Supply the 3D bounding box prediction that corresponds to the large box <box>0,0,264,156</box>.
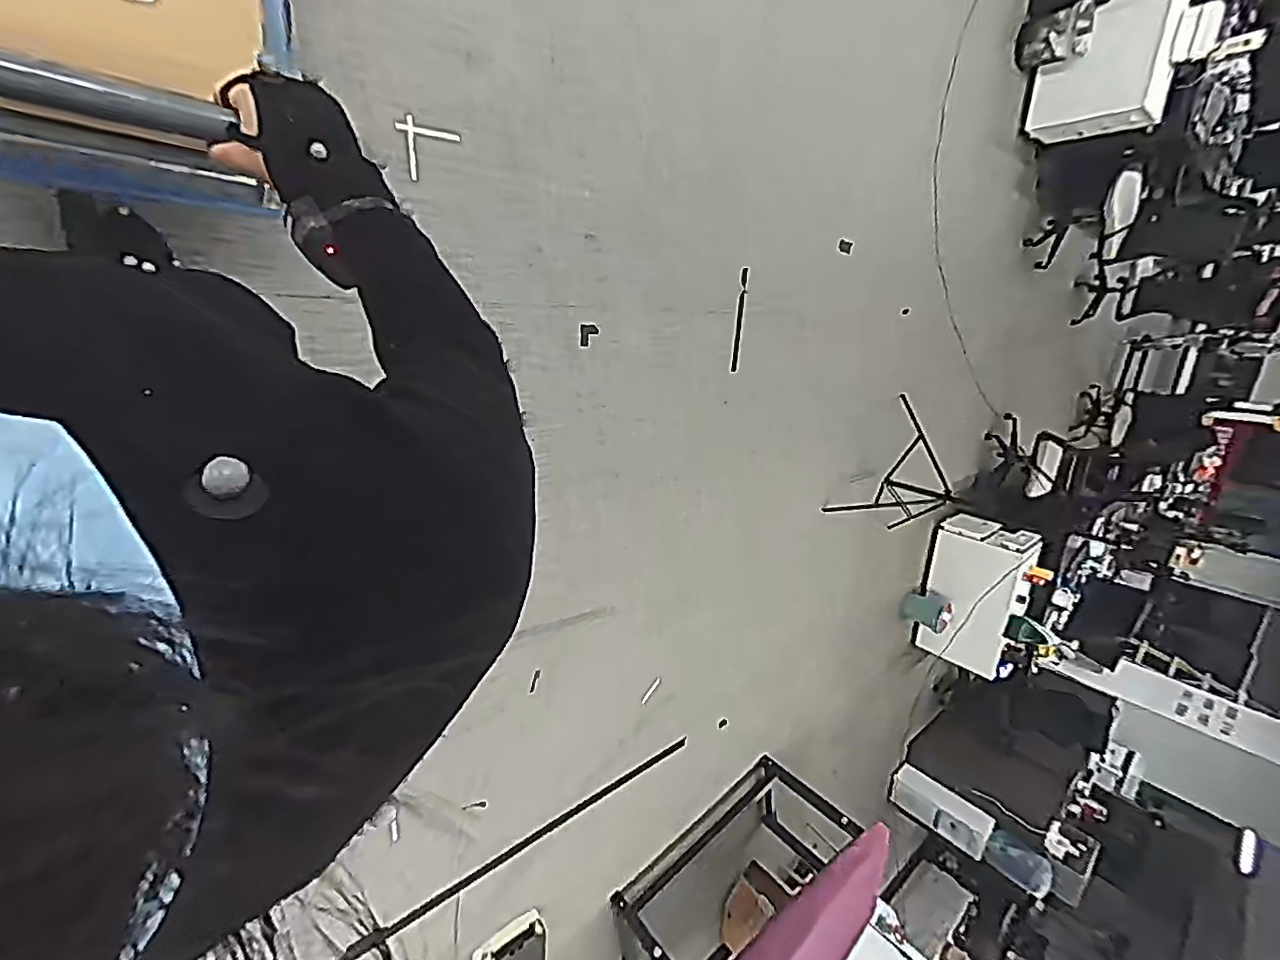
[{"bbox_3d":[-0.761,-0.658,0.689,0.408,0.320,0.320,-9,111,-40],"label":"large box"}]
